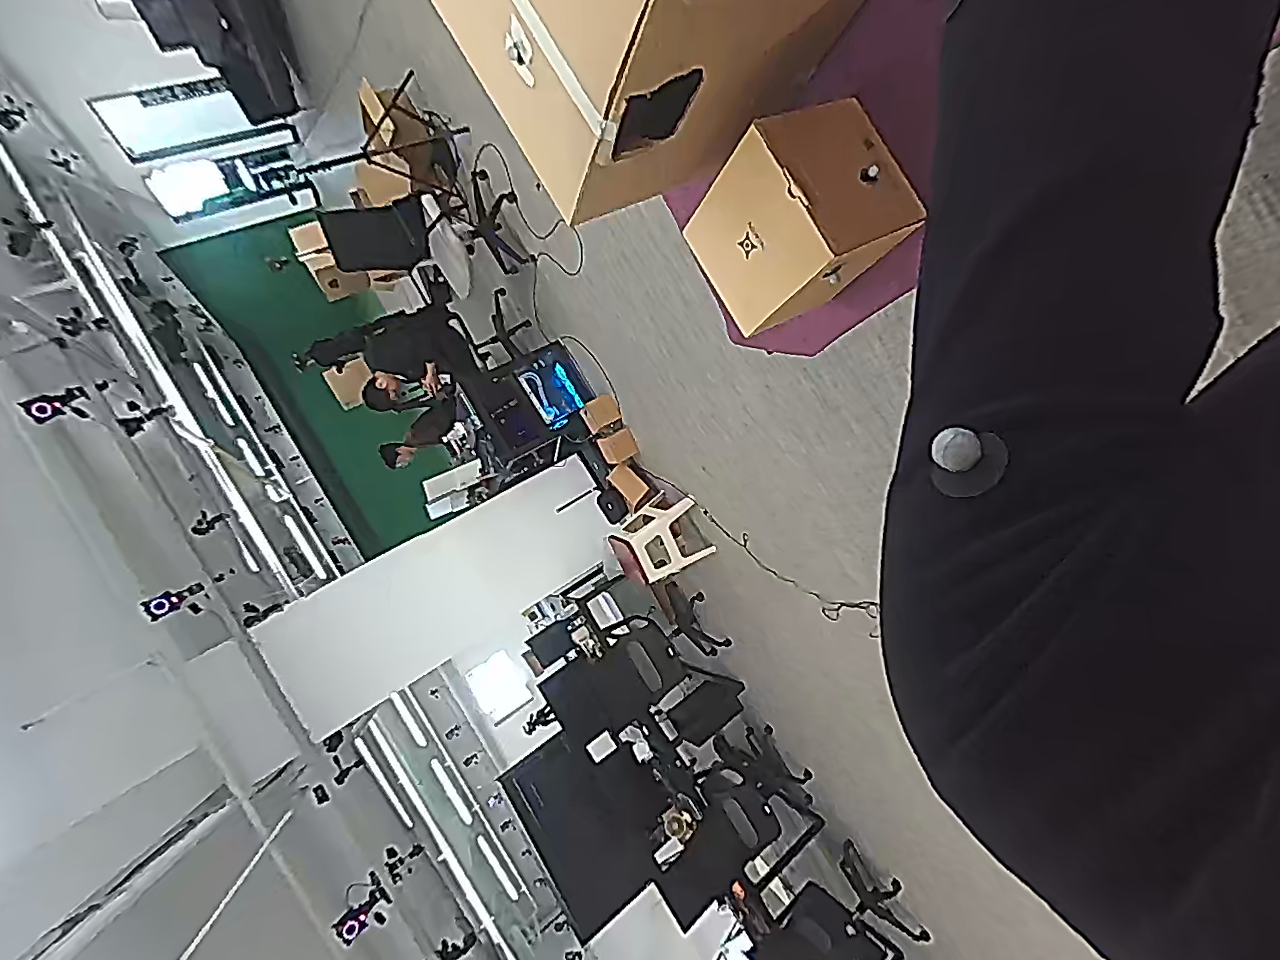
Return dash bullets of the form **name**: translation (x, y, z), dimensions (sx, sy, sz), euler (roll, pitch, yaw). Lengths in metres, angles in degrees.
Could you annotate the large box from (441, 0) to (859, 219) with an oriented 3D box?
- **large box**: translation (-0.010, -0.588, 0.578), dimensions (0.408, 0.320, 0.320), euler (57, 159, -1)
